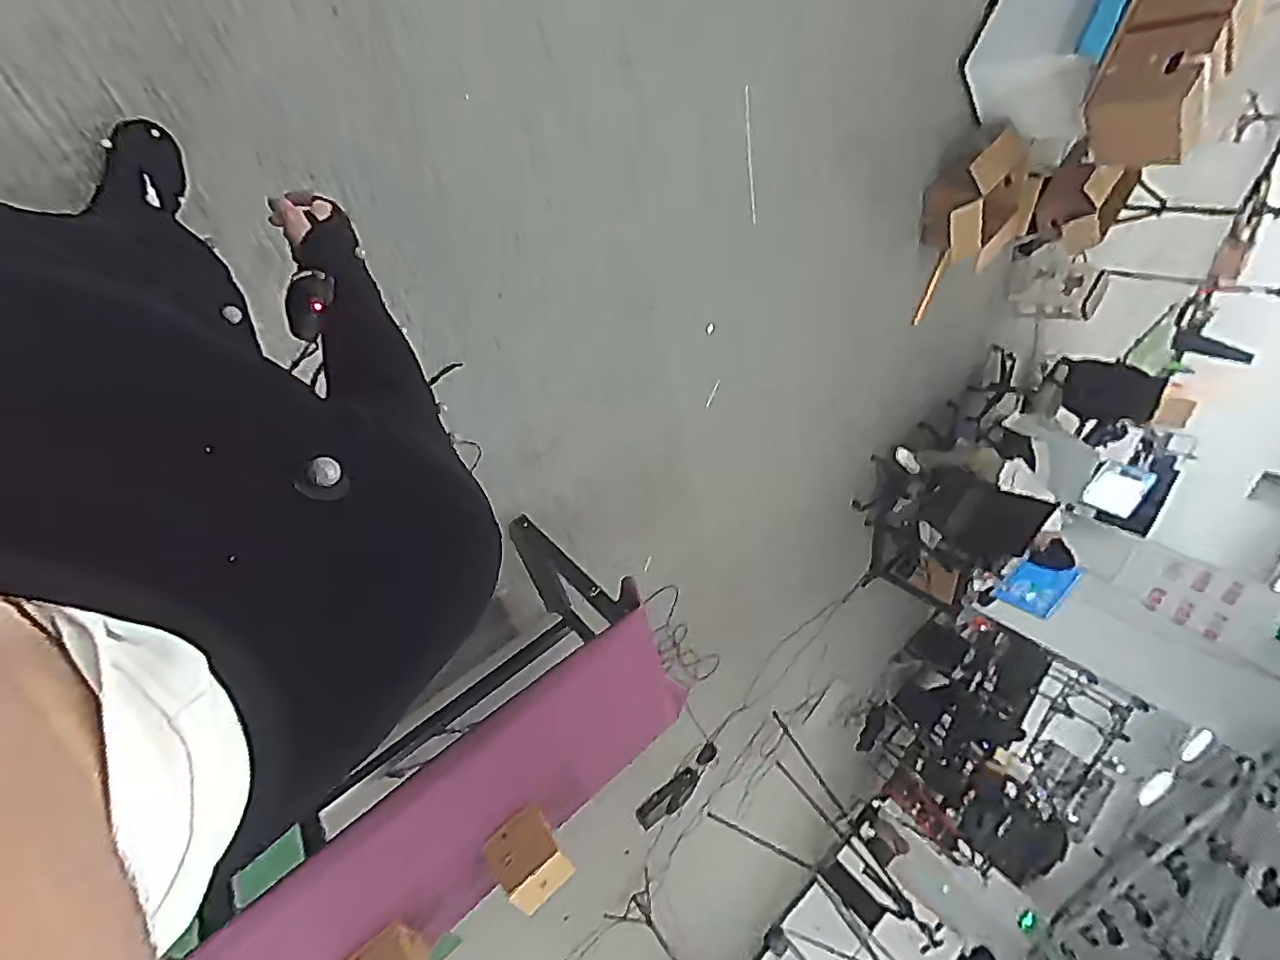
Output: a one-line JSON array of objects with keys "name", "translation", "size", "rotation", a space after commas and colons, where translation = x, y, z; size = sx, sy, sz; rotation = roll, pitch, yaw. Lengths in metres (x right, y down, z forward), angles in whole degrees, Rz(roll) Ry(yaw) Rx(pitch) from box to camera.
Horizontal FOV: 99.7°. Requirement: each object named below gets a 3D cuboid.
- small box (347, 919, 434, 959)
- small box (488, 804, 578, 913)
[{"name": "small box", "translation": [-0.630, 1.269, 1.370], "size": [0.168, 0.176, 0.179], "rotation": [-32, 131, -23]}, {"name": "small box", "translation": [-0.307, 1.069, 1.540], "size": [0.168, 0.176, 0.179], "rotation": [-33, 132, -22]}]
